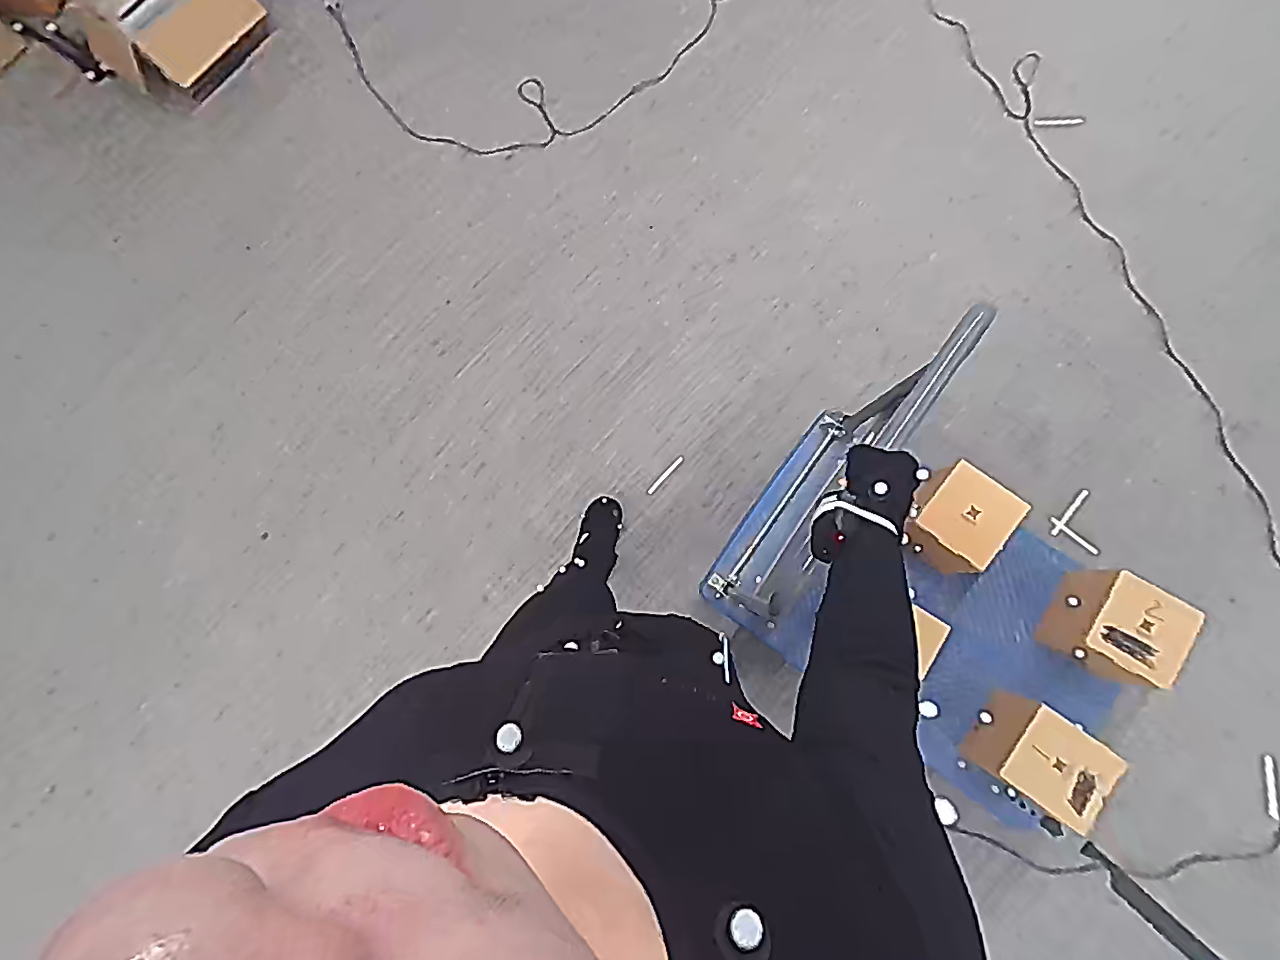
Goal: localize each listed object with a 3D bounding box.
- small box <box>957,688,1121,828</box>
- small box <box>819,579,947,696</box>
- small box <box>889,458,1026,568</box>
[{"bbox_3d":[0.805,0.553,1.110,0.179,0.176,0.168,36,84,10],"label":"small box"},{"bbox_3d":[0.512,0.329,1.170,0.168,0.176,0.179,33,83,9],"label":"small box"},{"bbox_3d":[0.693,0.078,1.204,0.168,0.176,0.179,39,86,9],"label":"small box"}]
